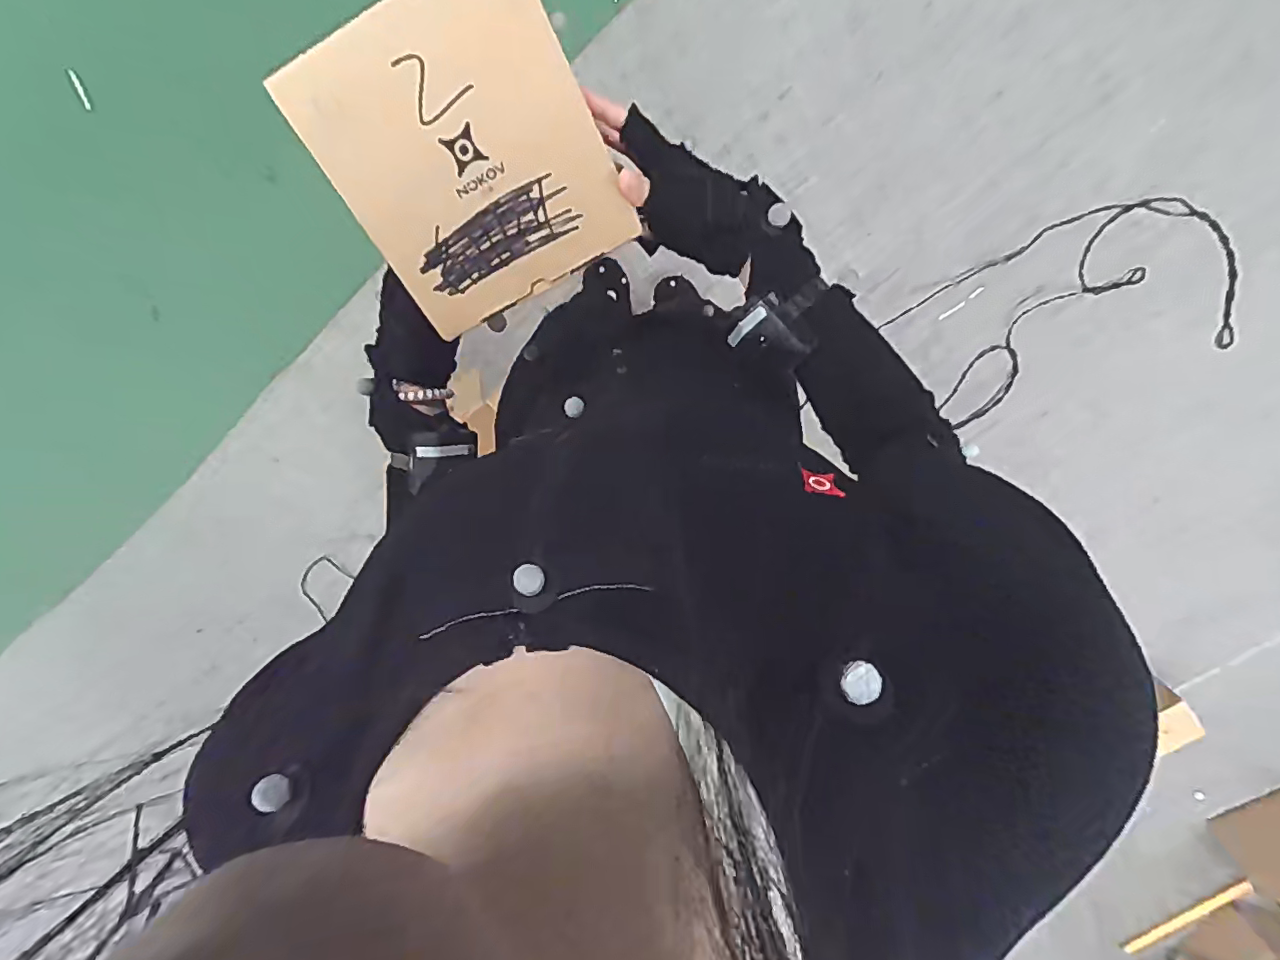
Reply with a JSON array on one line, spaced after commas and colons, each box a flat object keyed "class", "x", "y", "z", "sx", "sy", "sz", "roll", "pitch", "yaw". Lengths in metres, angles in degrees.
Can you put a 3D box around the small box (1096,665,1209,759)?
[{"class": "small box", "x": 1.580, "y": 0.718, "z": 1.684, "sx": 0.179, "sy": 0.176, "sz": 0.168, "roll": -39, "pitch": 105, "yaw": 15}]
